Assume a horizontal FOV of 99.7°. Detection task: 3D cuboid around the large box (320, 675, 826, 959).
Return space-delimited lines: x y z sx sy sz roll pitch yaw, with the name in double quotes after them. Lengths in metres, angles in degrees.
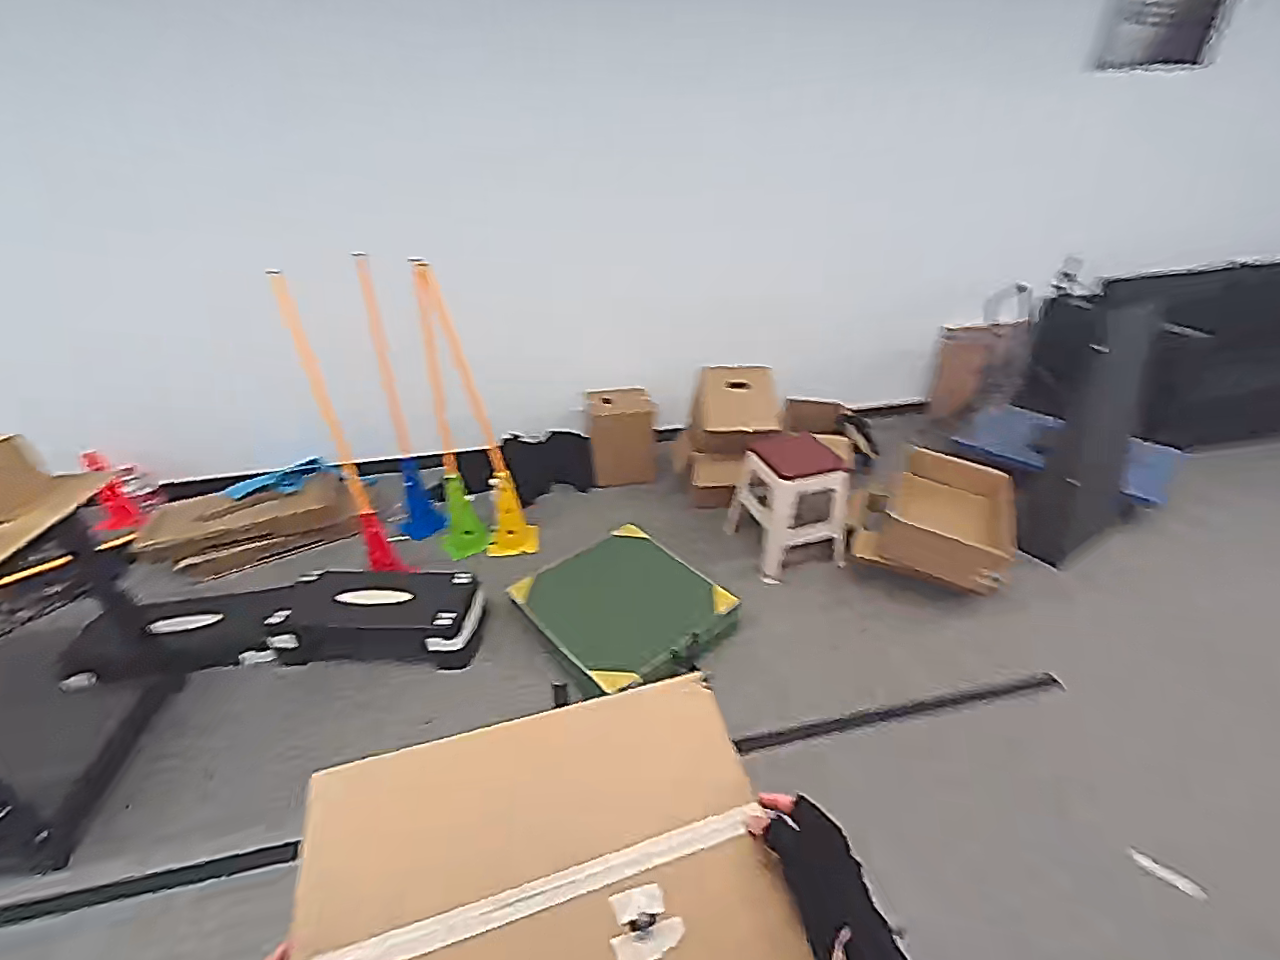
-0.080 0.471 0.579 0.408 0.320 0.320 -8 42 -16 "large box"
